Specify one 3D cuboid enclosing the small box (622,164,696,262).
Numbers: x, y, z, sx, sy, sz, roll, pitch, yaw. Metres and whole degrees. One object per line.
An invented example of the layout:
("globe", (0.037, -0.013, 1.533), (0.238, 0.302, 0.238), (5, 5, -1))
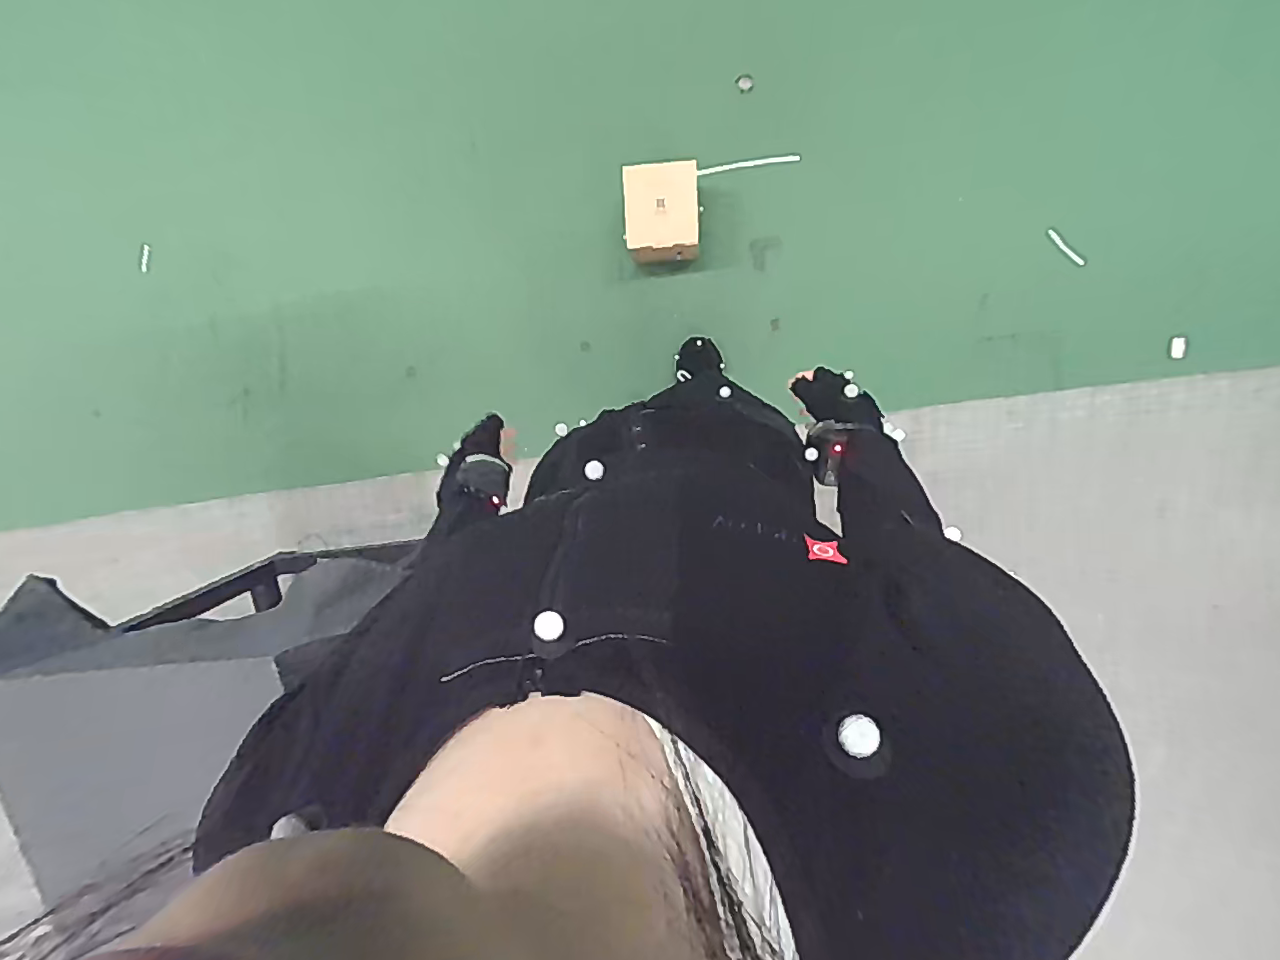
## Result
("small box", (0.051, -0.626, 1.290), (0.168, 0.176, 0.179), (-2, 101, 5))
